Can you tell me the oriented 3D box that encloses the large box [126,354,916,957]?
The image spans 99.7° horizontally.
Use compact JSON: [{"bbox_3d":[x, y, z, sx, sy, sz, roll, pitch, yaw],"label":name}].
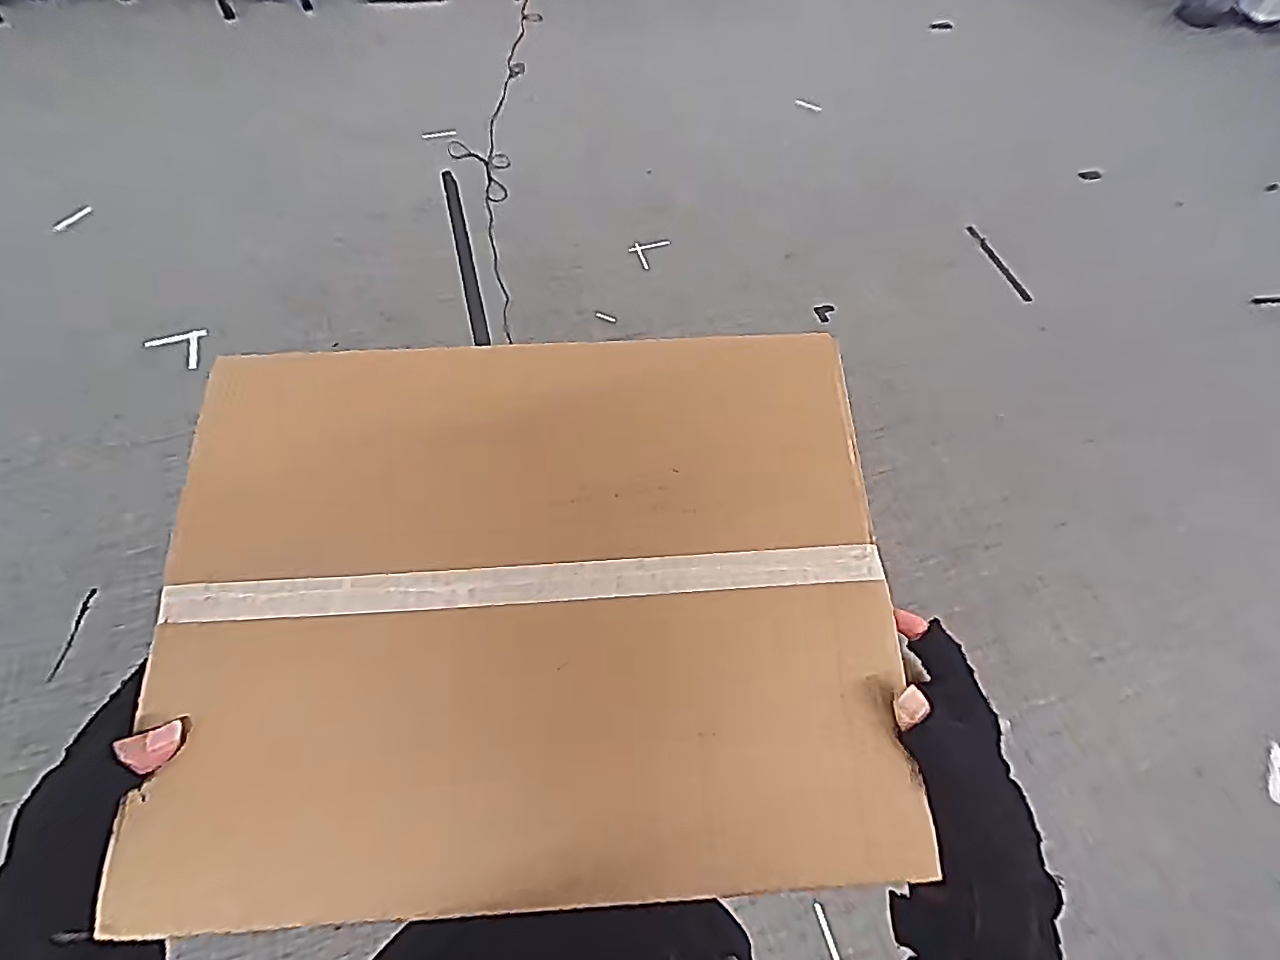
[{"bbox_3d":[-0.065,0.118,0.456,0.408,0.320,0.320,-3,71,-2],"label":"large box"}]
